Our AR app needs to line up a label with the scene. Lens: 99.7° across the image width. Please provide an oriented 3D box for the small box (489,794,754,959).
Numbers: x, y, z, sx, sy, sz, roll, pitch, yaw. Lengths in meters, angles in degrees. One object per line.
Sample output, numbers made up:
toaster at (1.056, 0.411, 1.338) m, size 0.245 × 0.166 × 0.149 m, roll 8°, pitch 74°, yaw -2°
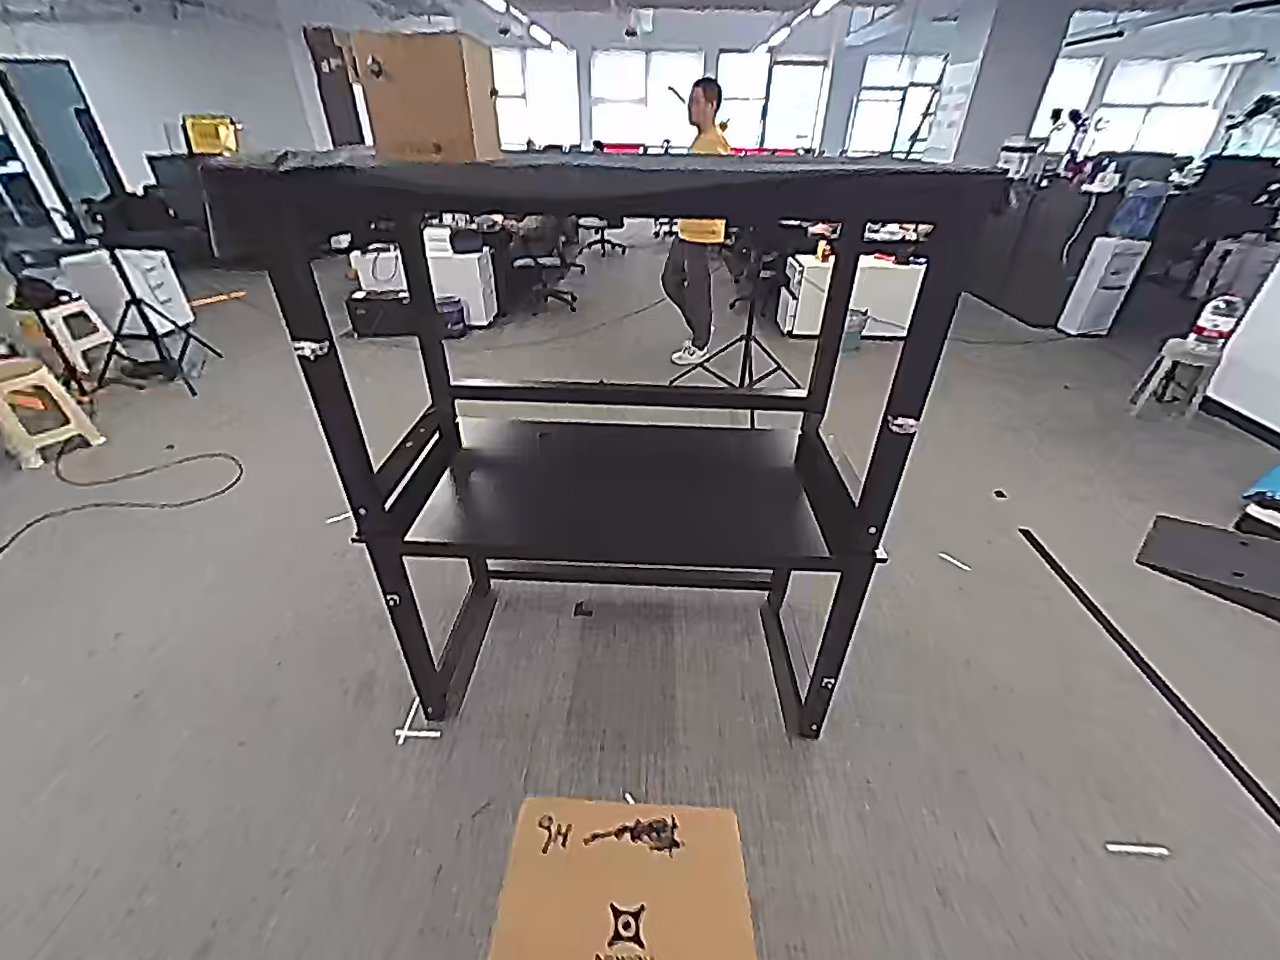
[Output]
small box at (-0.017, 0.358, 0.380) m, size 0.168 × 0.176 × 0.179 m, roll 5°, pitch 30°, yaw -2°
